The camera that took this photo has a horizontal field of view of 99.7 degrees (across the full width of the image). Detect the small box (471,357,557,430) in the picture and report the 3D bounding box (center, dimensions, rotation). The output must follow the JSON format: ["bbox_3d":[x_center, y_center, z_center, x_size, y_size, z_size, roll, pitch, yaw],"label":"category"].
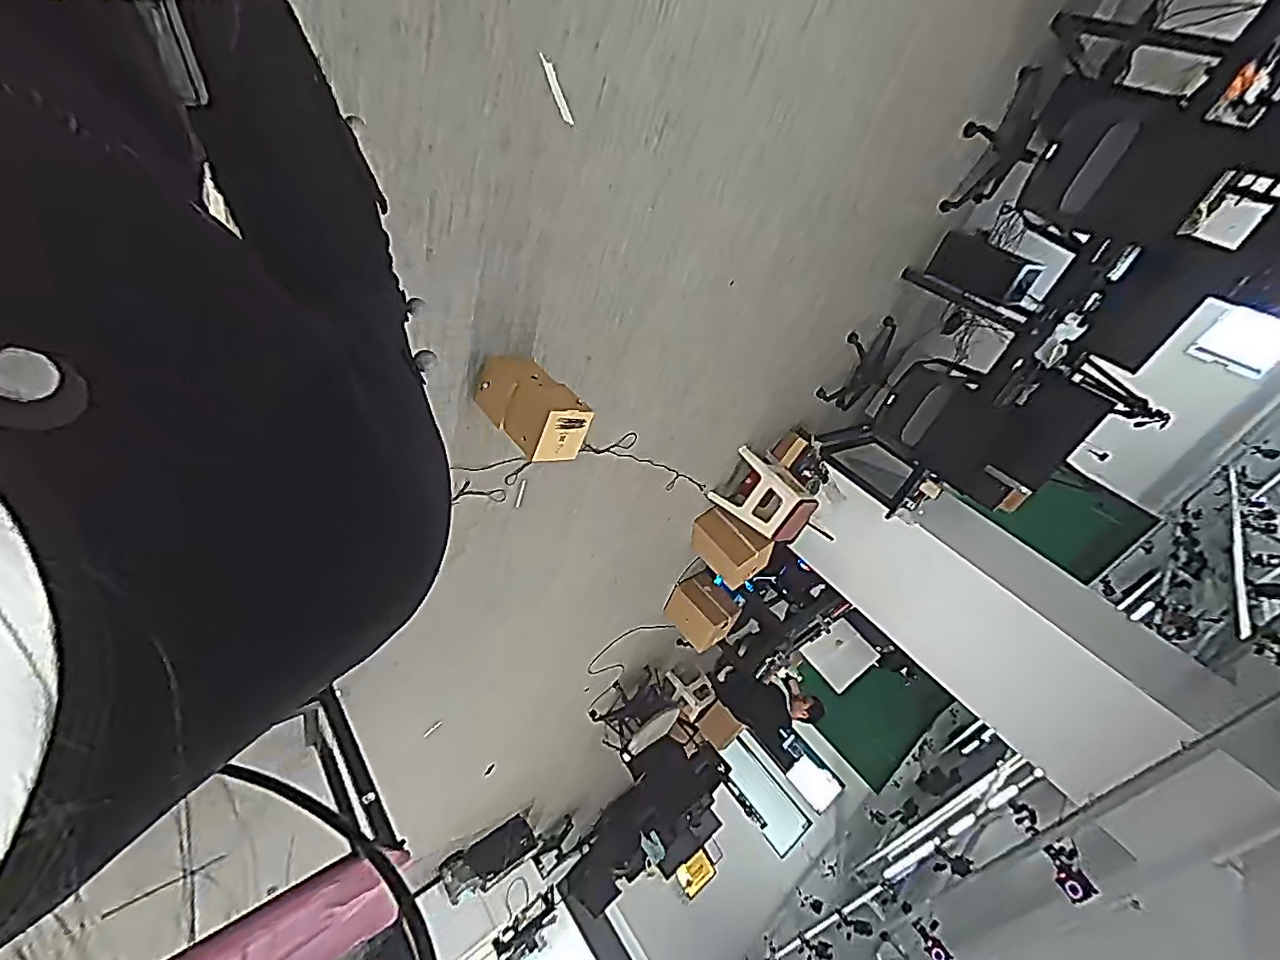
[{"bbox_3d":[-0.397,-0.270,1.692,0.179,0.176,0.168,-5,129,-47],"label":"small box"}]
